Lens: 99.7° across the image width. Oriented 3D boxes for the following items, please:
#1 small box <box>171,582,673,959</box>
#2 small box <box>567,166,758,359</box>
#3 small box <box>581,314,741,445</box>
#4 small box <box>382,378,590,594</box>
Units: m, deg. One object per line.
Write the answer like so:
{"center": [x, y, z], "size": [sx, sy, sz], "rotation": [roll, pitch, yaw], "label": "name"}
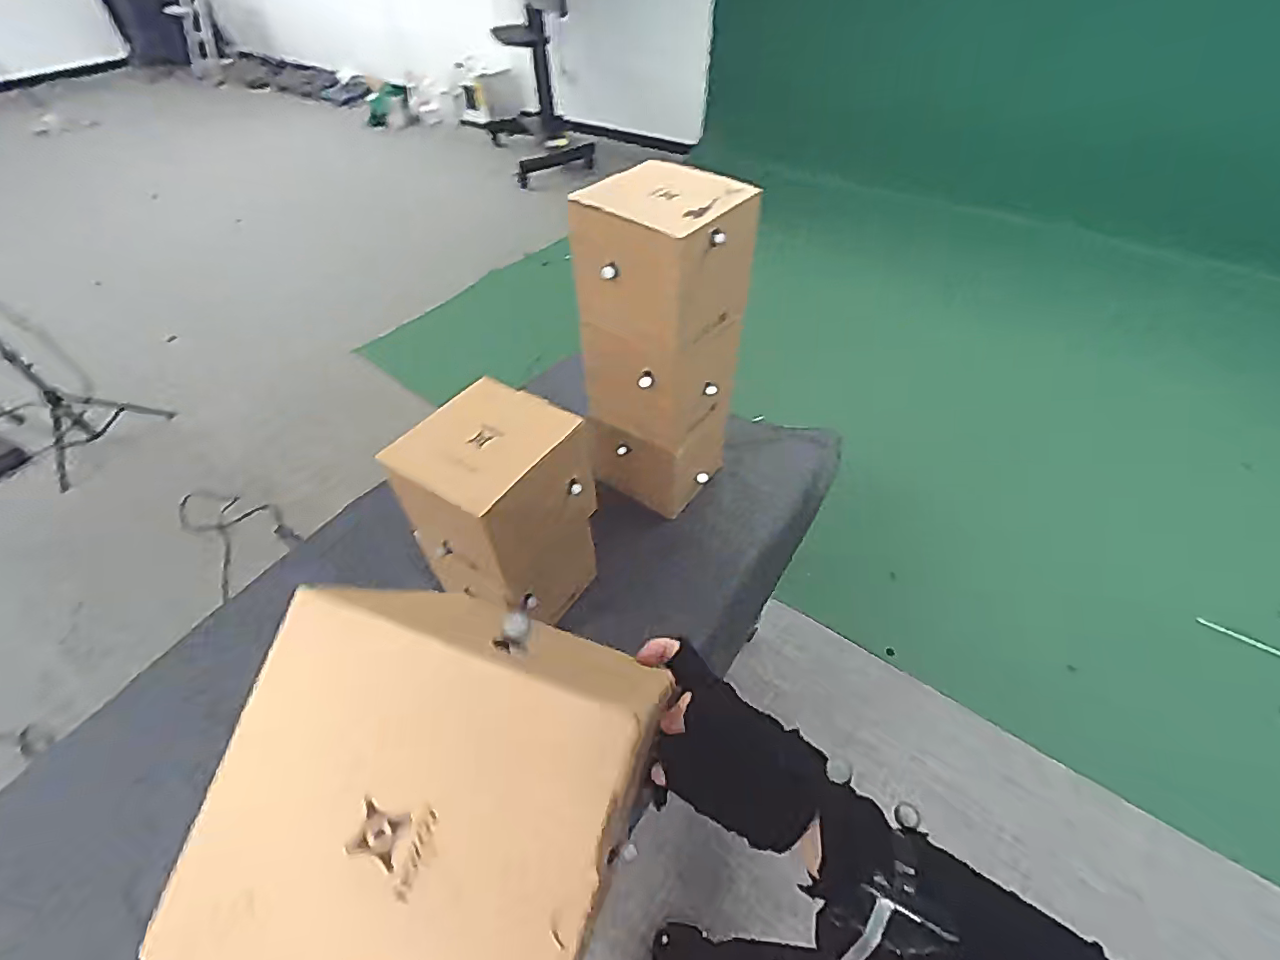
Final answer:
{"center": [-0.088, 0.168, 0.310], "size": [0.179, 0.176, 0.168], "rotation": [17, 80, 9], "label": "small box"}
{"center": [0.029, -0.286, 0.714], "size": [0.179, 0.176, 0.168], "rotation": [31, 57, 27], "label": "small box"}
{"center": [0.033, -0.179, 0.838], "size": [0.179, 0.176, 0.168], "rotation": [29, 55, 25], "label": "small box"}
{"center": [-0.176, 0.007, 0.680], "size": [0.168, 0.176, 0.179], "rotation": [25, 54, 23], "label": "small box"}
